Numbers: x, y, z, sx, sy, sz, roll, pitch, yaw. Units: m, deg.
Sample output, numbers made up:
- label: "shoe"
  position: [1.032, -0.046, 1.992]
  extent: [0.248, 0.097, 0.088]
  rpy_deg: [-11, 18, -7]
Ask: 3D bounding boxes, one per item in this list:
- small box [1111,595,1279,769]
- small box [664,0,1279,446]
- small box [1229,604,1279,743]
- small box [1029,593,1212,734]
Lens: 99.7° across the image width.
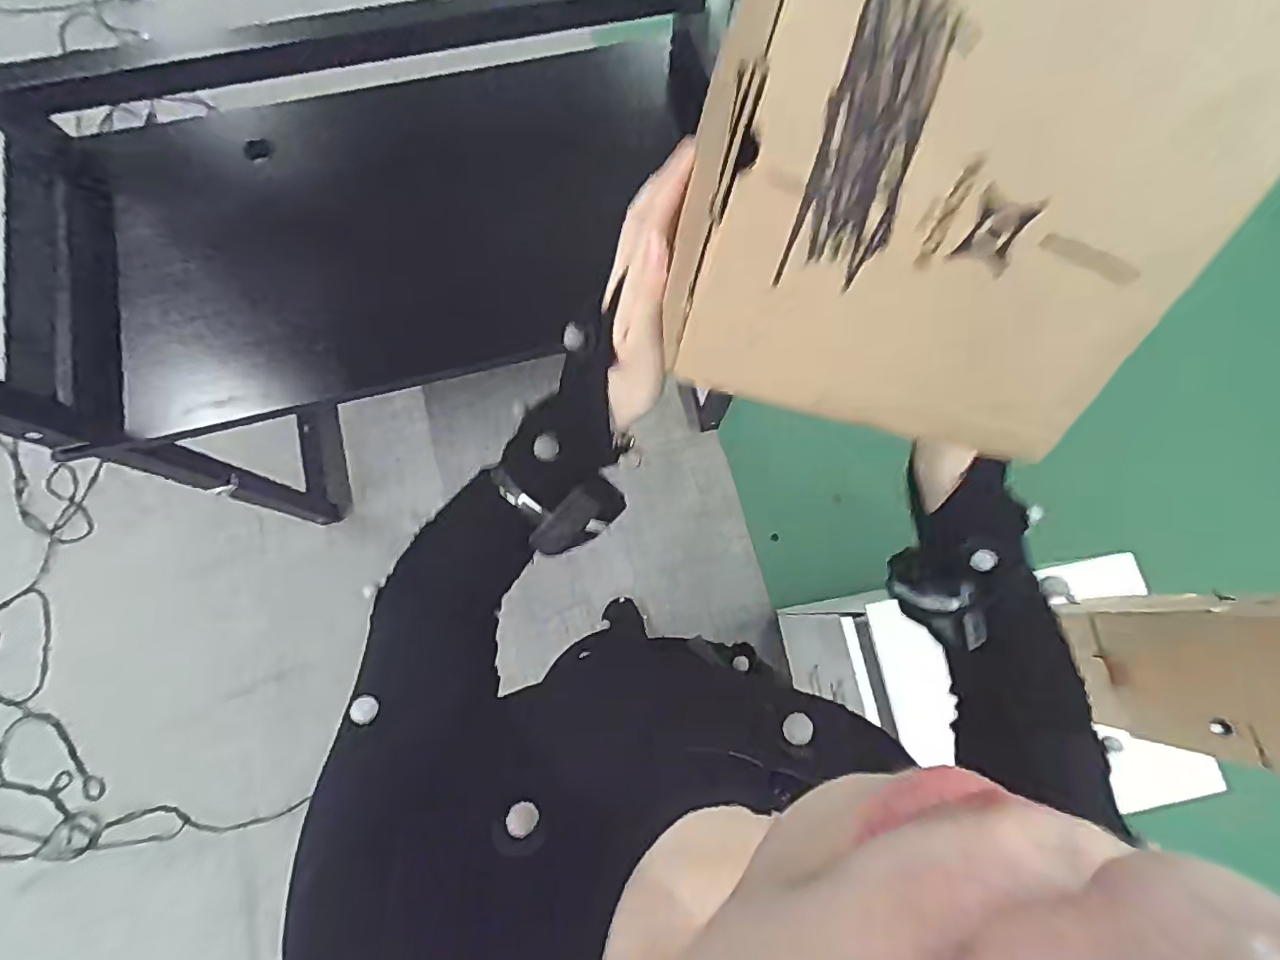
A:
- label: "small box"
  position: [0.745, 0.238, 0.670]
  extent: [0.168, 0.176, 0.179]
  rpy_deg: [-7, 77, -3]
- label: "small box"
  position: [0.113, -0.142, 0.231]
  extent: [0.179, 0.168, 0.176]
  rpy_deg: [12, 36, -8]
- label: "small box"
  position: [0.743, 0.195, 0.511]
  extent: [0.168, 0.176, 0.179]
  rpy_deg: [-14, 78, -4]
- label: "small box"
  position: [0.744, 0.272, 0.829]
  extent: [0.179, 0.176, 0.168]
  rpy_deg: [-9, 77, -3]
